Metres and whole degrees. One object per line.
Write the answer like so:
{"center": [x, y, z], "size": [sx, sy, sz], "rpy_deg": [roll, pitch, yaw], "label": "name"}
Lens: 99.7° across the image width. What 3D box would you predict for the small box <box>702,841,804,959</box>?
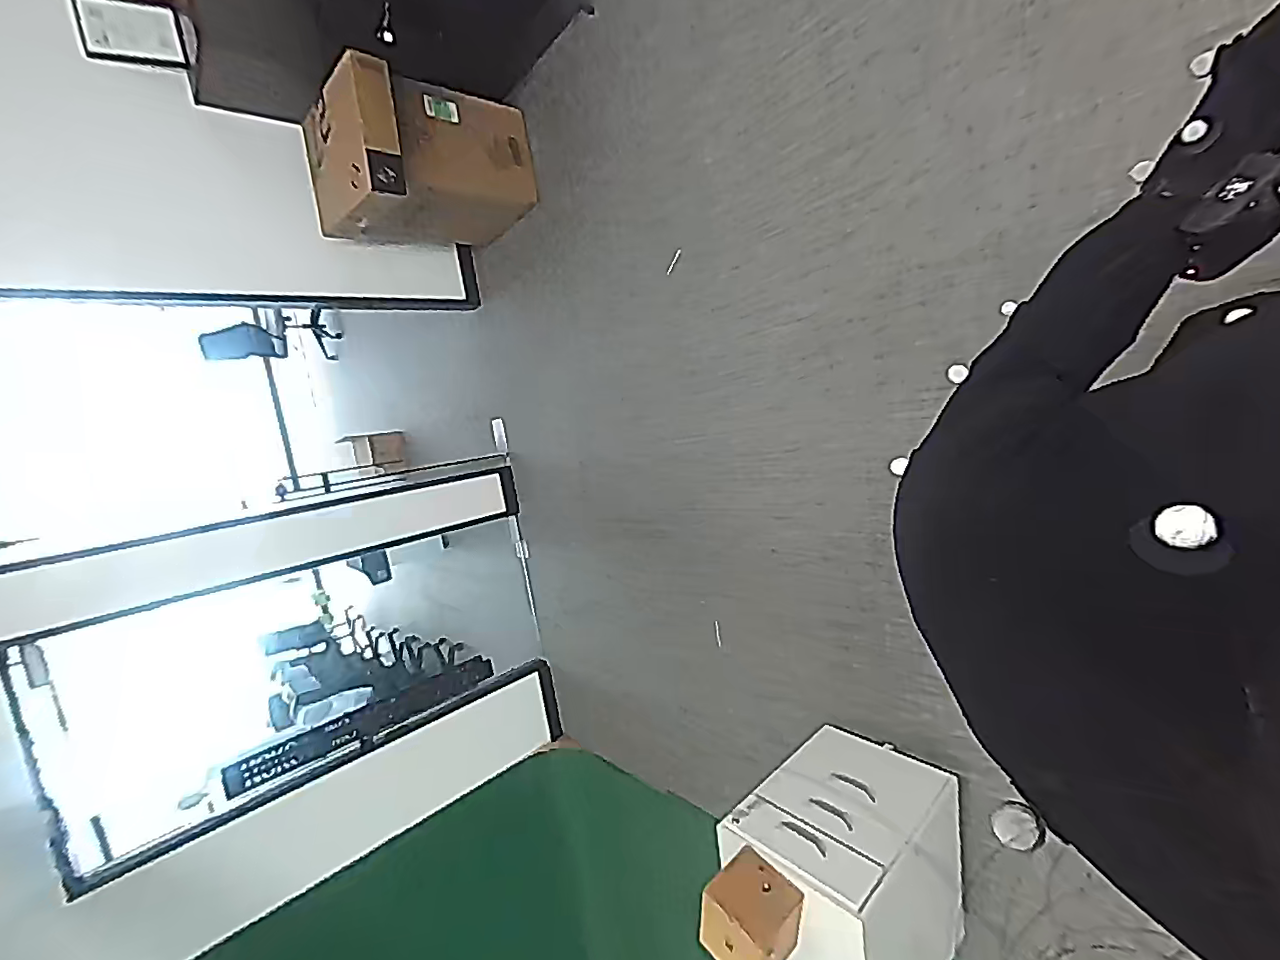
{"center": [0.263, 1.006, 1.260], "size": [0.168, 0.176, 0.179], "rpy_deg": [19, 116, 44], "label": "small box"}
